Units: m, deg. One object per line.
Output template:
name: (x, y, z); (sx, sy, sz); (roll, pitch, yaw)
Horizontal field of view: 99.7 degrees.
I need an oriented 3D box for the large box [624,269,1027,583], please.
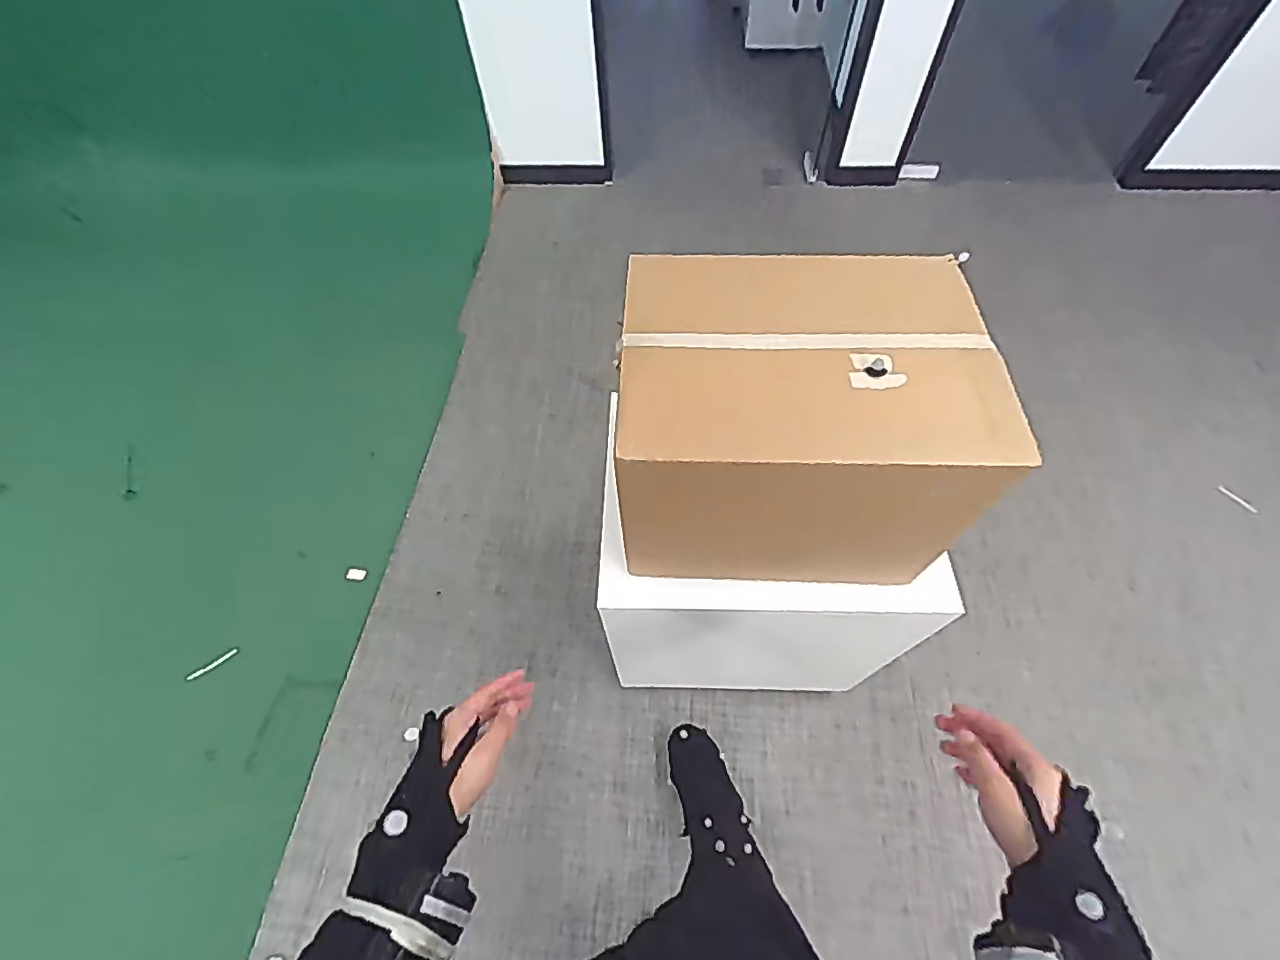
large box: (0.184, -0.060, 0.734); (0.408, 0.320, 0.320); (2, 58, 1)
